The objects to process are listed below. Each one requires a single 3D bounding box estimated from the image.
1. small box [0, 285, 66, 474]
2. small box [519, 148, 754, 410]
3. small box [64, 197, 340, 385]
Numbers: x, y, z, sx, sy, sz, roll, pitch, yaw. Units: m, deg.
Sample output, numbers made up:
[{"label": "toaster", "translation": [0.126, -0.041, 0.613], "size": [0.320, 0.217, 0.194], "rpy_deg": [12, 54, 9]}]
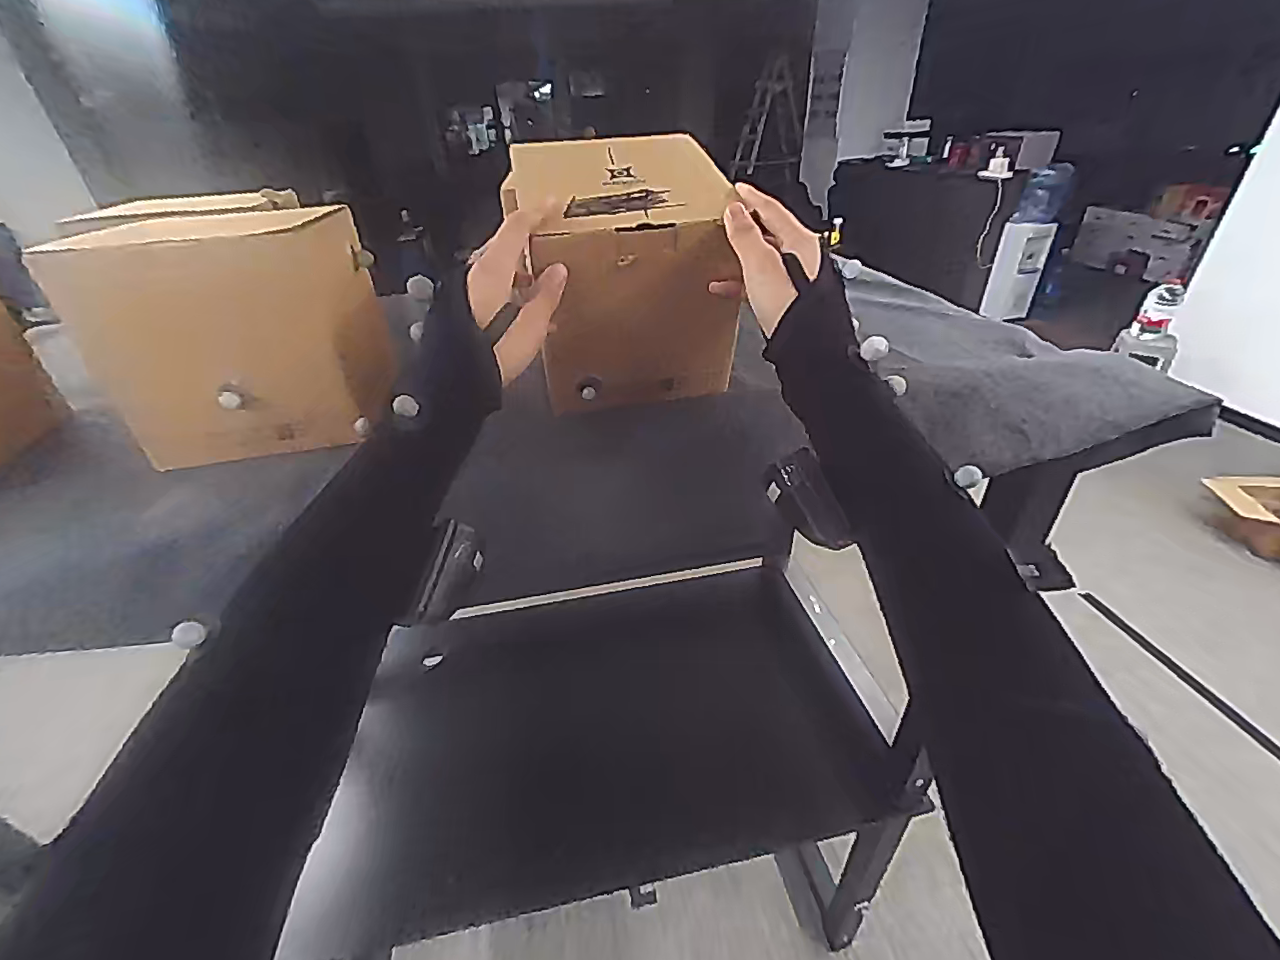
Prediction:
[{"label": "small box", "translation": [-0.623, -0.073, 0.420], "size": [0.168, 0.176, 0.179], "rpy_deg": [-10, 34, -11]}, {"label": "small box", "translation": [-0.012, -0.179, 0.497], "size": [0.168, 0.176, 0.179], "rpy_deg": [-9, 49, -9]}, {"label": "small box", "translation": [-0.481, -0.226, 0.637], "size": [0.179, 0.176, 0.168], "rpy_deg": [-10, 34, -11]}]
